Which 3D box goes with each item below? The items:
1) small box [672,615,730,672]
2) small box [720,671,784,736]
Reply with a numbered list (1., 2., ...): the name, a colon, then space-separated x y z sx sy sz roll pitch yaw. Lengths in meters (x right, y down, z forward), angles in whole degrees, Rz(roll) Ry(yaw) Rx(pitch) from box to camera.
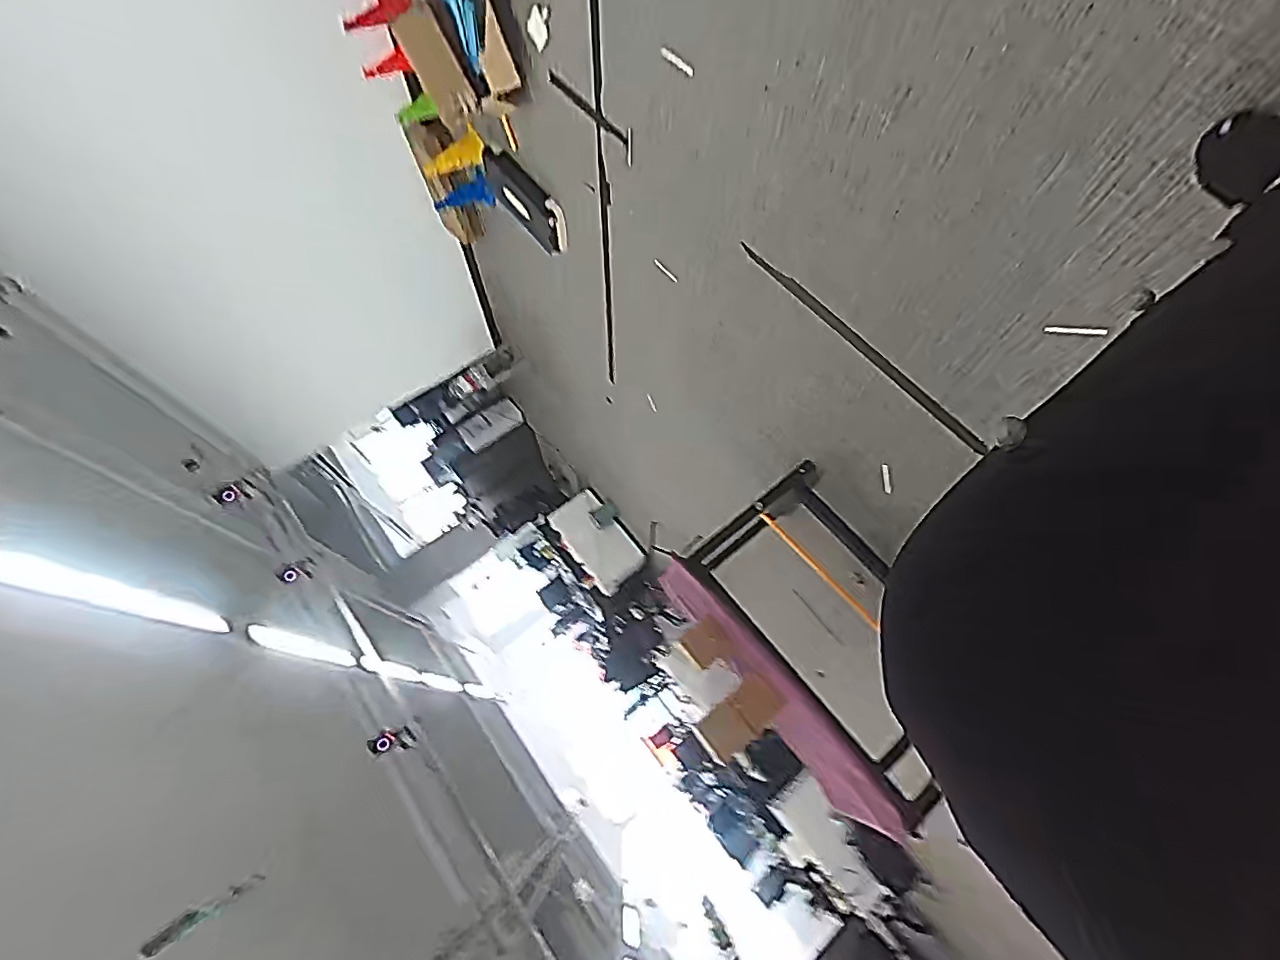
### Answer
1. small box: 0.261 0.695 2.297 0.168 0.176 0.179 50 162 14
2. small box: 0.452 0.900 2.182 0.179 0.176 0.168 49 163 18
